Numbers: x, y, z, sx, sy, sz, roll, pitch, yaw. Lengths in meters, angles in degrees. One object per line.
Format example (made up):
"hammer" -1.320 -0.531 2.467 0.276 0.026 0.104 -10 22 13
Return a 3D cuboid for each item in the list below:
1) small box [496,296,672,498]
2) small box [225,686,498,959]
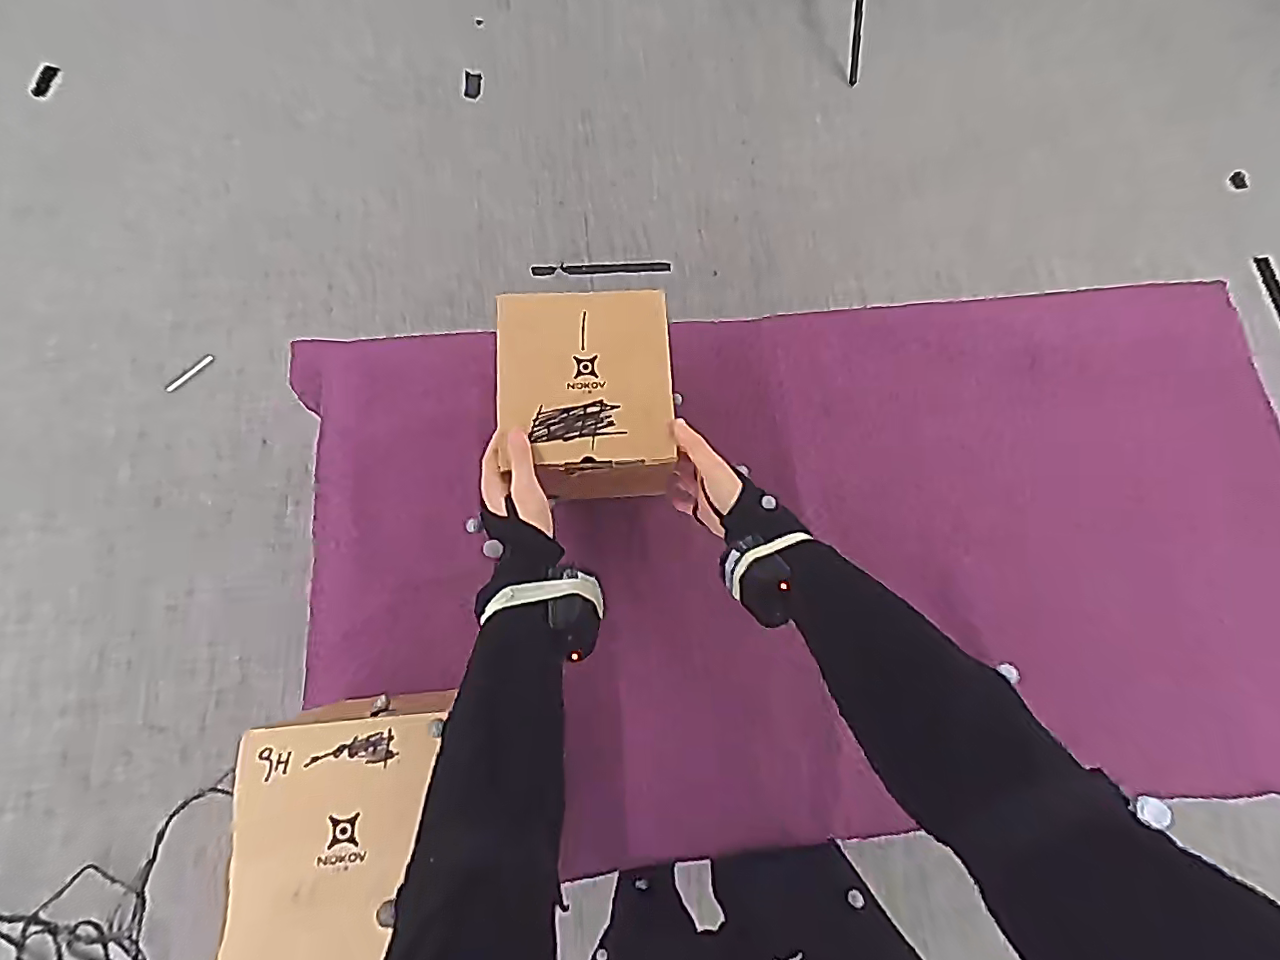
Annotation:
"small box" -0.057 -0.078 0.593 0.168 0.176 0.179 -3 77 -3
"small box" -0.228 0.296 0.490 0.168 0.176 0.179 -4 76 -4
